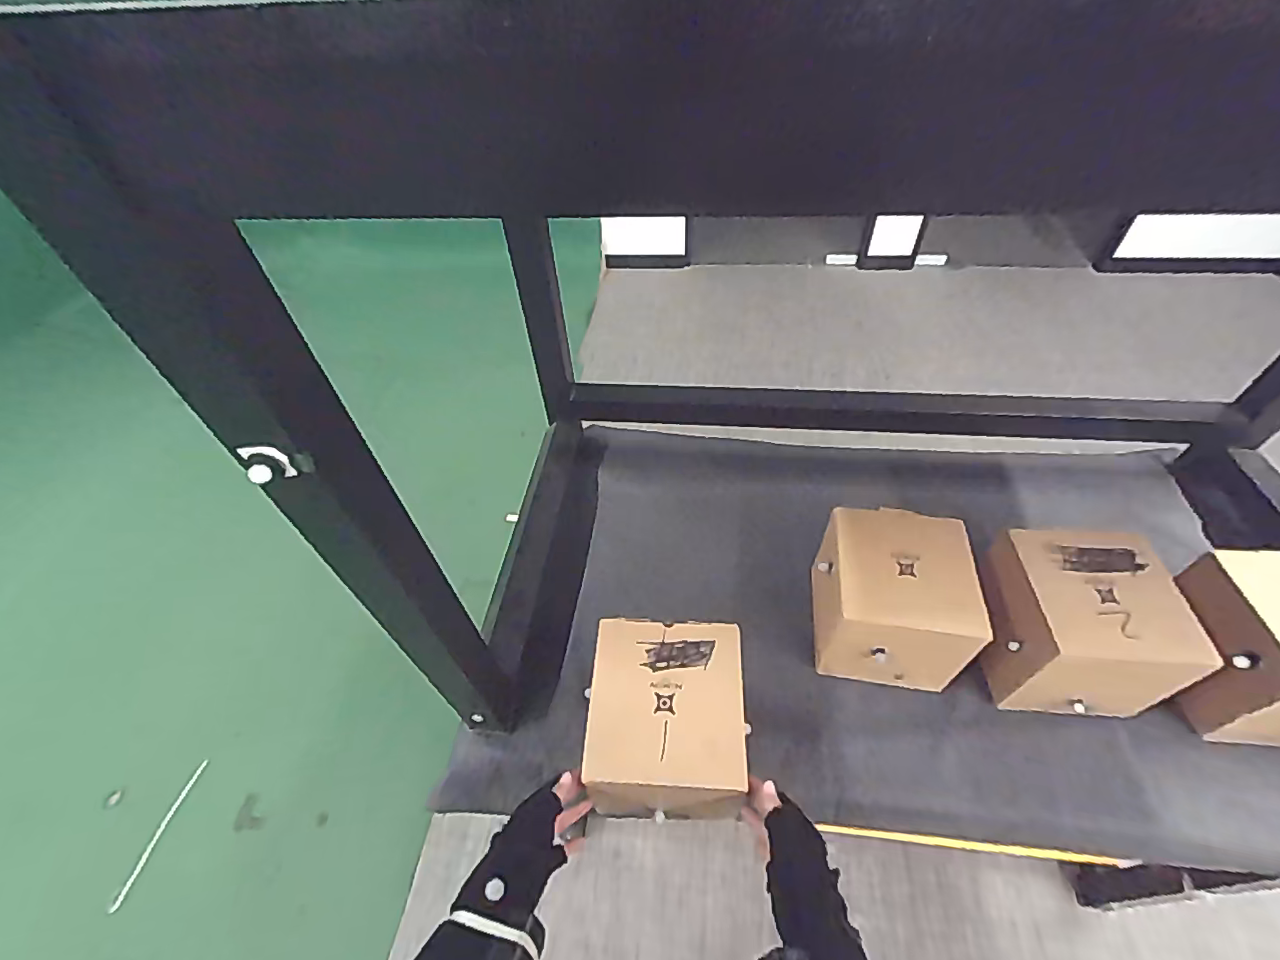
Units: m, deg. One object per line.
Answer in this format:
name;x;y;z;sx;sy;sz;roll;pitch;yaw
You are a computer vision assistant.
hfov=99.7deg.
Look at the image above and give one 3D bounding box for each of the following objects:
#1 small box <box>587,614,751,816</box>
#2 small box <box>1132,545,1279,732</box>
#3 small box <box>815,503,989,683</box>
small box;0.037;0.281;0.647;0.168;0.176;0.179;1;50;5
small box;0.779;0.201;0.666;0.168;0.176;0.179;2;48;5
small box;0.340;0.157;0.741;0.168;0.176;0.179;6;49;9
